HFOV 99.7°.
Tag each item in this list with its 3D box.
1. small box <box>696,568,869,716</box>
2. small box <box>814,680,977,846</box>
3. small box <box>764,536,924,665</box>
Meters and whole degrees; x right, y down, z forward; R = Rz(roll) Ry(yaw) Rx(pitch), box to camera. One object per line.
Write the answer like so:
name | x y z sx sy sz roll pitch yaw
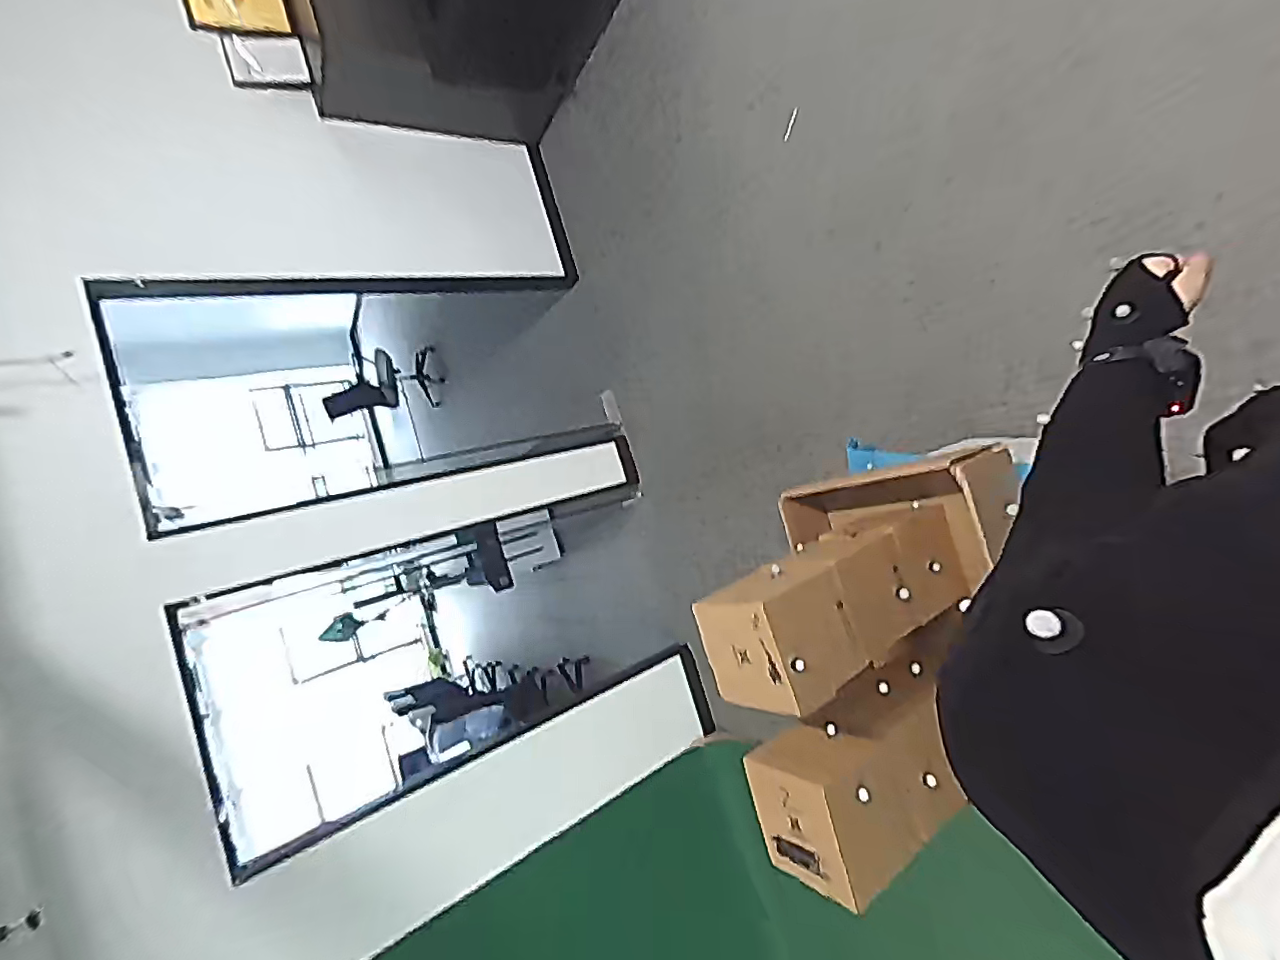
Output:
small box | 0.224 0.247 0.861 0.179 0.176 0.168 -23 85 59
small box | 0.438 0.468 0.926 0.168 0.176 0.179 -22 83 57
small box | 0.355 0.205 0.949 0.179 0.176 0.168 -22 85 58
